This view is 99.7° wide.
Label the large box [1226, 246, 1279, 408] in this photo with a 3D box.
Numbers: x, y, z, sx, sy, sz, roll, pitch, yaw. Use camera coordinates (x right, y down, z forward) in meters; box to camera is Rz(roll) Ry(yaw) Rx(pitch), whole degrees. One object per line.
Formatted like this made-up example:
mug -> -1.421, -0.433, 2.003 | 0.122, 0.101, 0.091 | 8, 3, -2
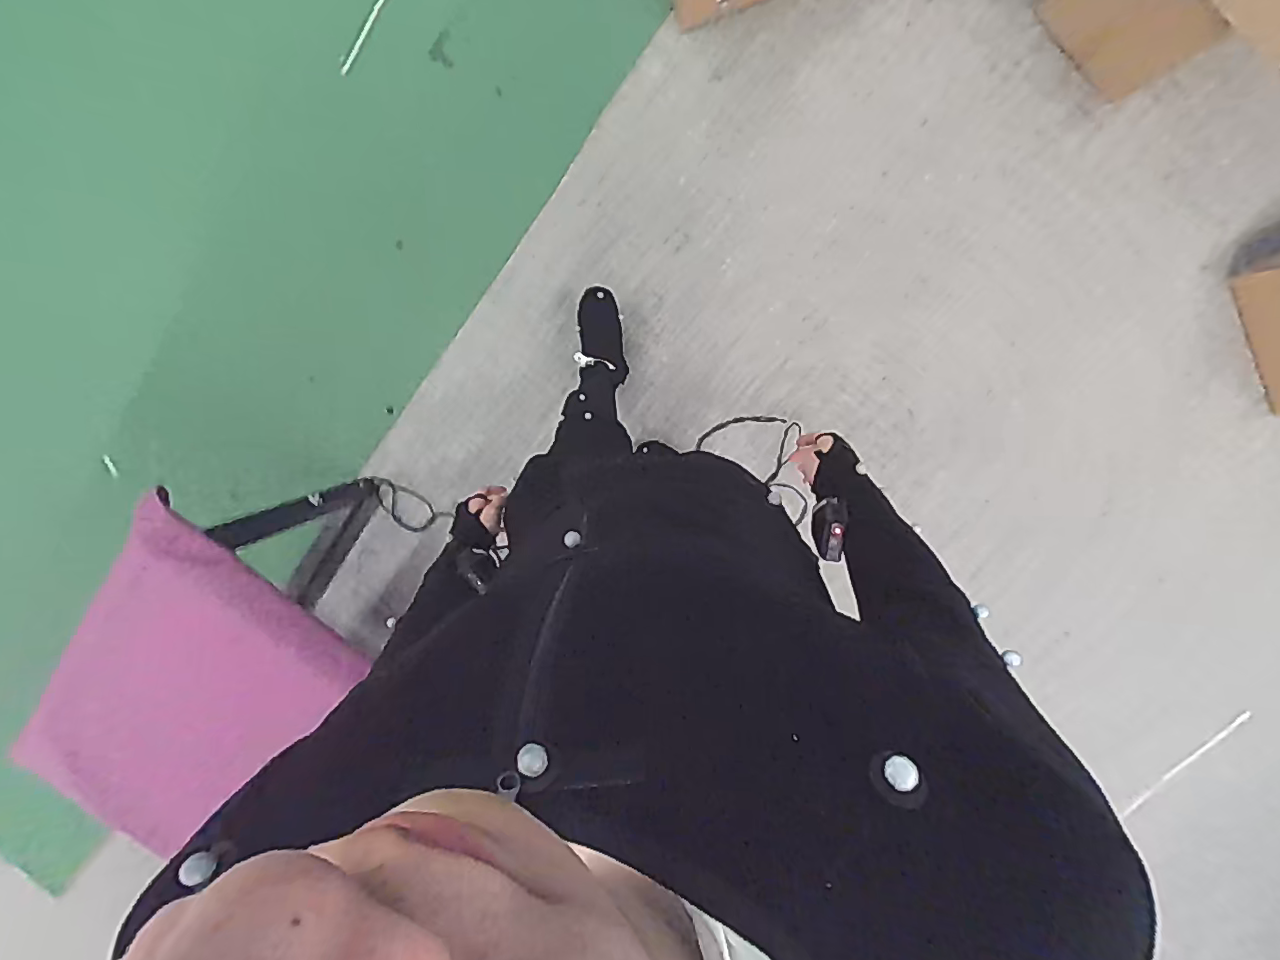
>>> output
large box -> 1.707, -0.398, 1.239 | 0.320, 0.320, 0.408 | -27, 97, 9
